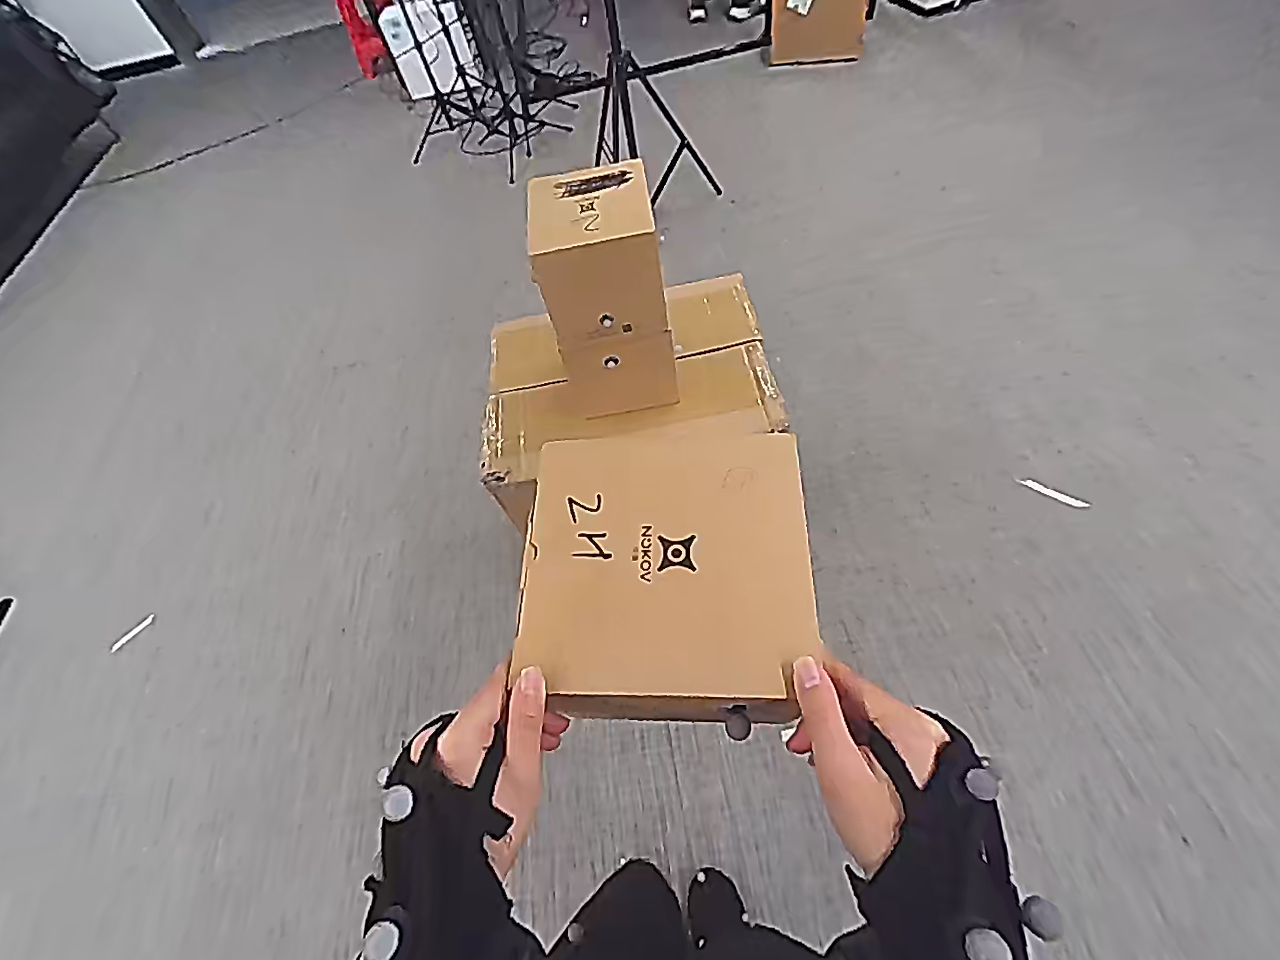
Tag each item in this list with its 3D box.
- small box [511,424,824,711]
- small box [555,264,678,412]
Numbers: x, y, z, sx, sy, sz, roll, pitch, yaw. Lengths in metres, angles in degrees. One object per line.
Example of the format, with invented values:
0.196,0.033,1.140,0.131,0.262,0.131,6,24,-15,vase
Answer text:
0.024,0.074,0.403,0.179,0.176,0.168,-2,61,7,small box
-0.037,-0.235,0.924,0.179,0.176,0.168,-9,57,4,small box
